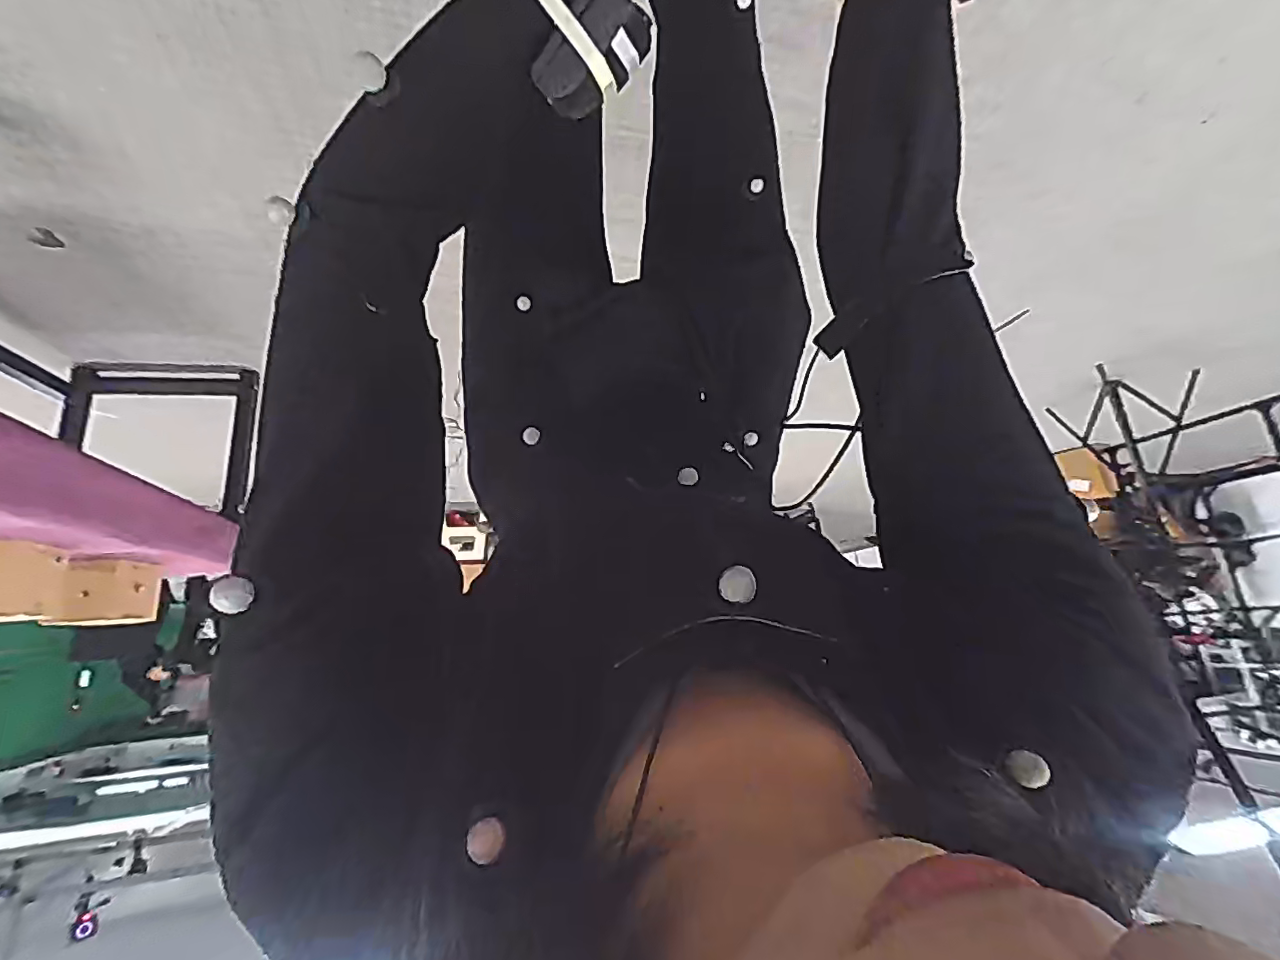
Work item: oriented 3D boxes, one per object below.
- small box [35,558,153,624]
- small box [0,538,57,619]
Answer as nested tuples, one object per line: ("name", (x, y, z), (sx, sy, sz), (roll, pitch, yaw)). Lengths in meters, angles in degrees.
("small box", (-1.538, 0.316, 1.538), (0.179, 0.176, 0.168), (-3, 164, -5))
("small box", (-1.486, 0.225, 1.225), (0.179, 0.176, 0.168), (3, 163, -20))
